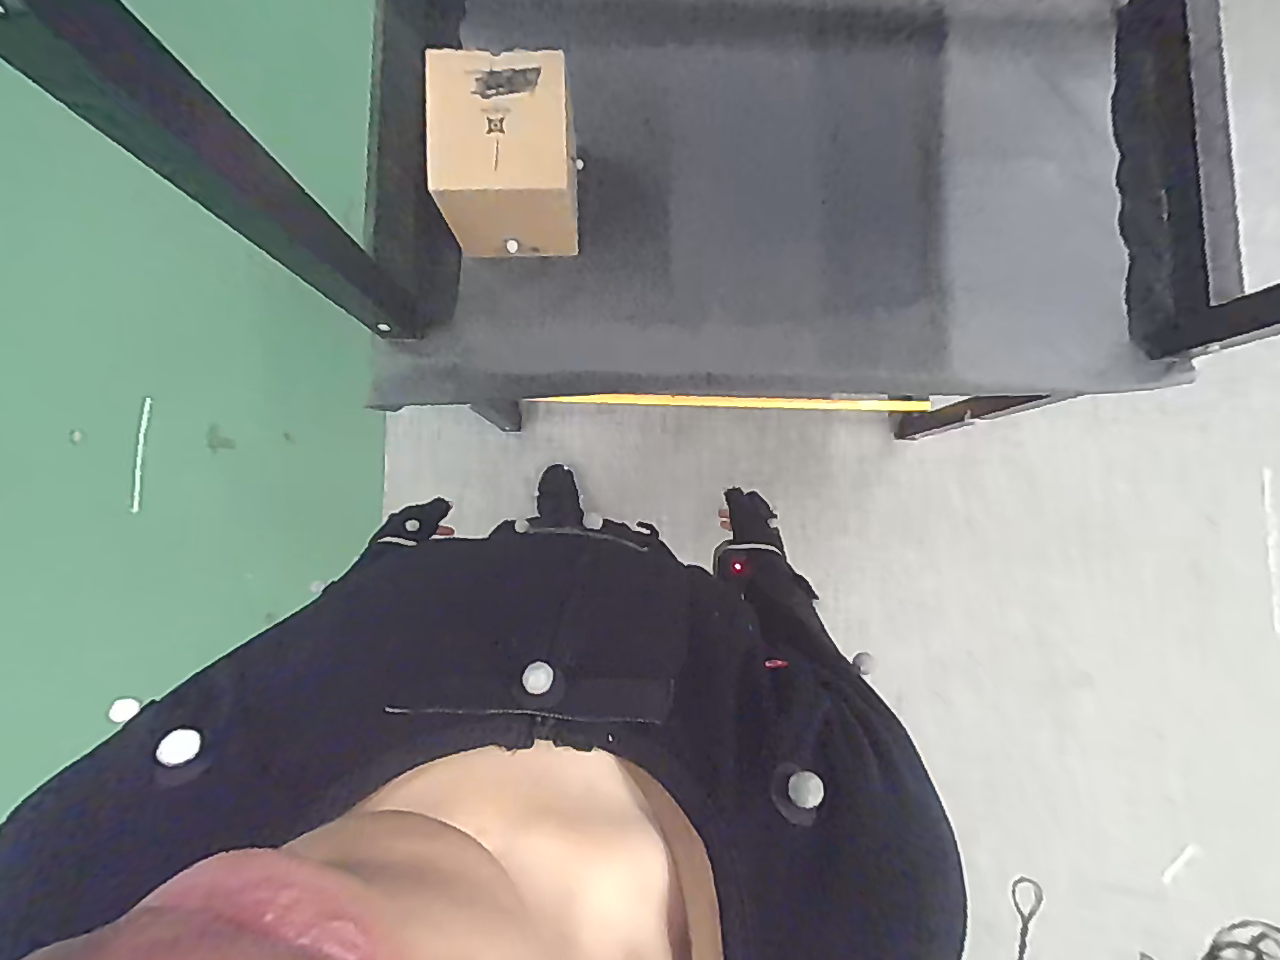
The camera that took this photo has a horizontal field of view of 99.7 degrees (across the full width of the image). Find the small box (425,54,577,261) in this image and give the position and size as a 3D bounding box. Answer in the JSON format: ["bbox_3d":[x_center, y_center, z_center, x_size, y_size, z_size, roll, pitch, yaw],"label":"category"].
[{"bbox_3d":[-0.174,-0.416,0.719,0.168,0.176,0.179,-2,86,-2],"label":"small box"}]
